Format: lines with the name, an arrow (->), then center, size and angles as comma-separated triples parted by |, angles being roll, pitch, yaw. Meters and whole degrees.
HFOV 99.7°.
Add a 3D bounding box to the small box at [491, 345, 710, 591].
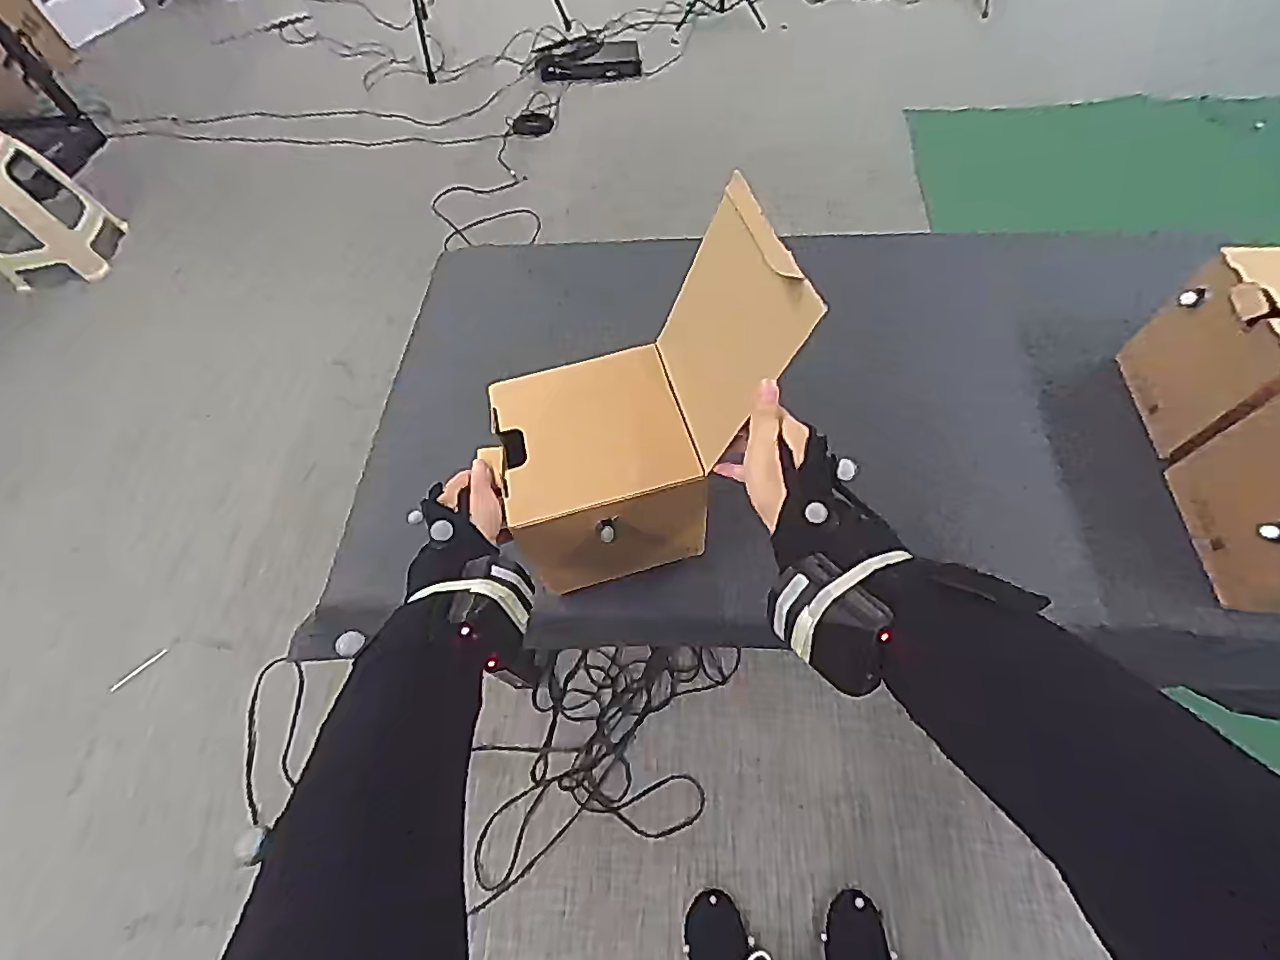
small box -> -0.036, -0.005, 0.556 | 0.179, 0.176, 0.168 | -15, 59, -2
